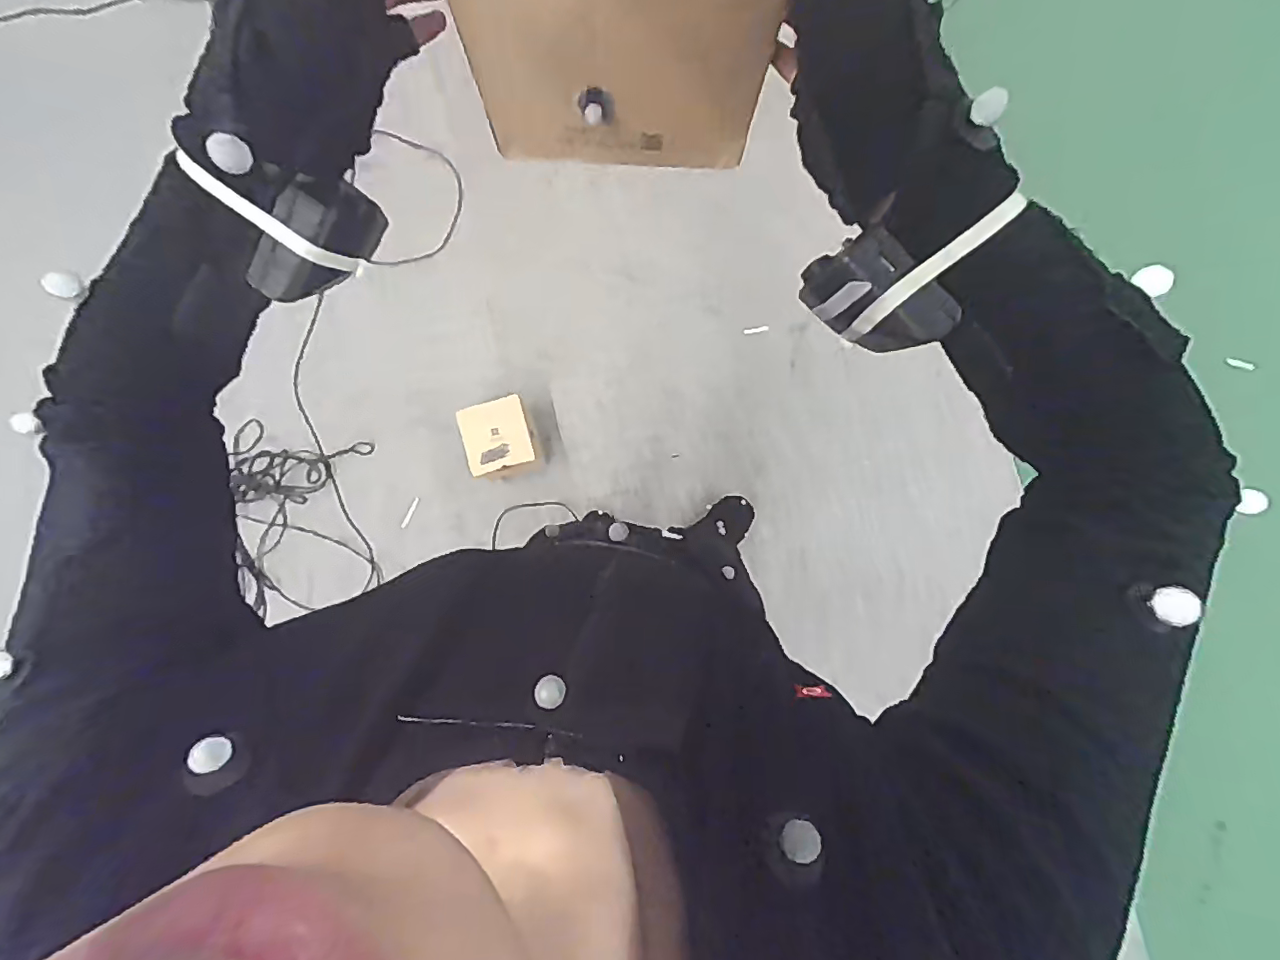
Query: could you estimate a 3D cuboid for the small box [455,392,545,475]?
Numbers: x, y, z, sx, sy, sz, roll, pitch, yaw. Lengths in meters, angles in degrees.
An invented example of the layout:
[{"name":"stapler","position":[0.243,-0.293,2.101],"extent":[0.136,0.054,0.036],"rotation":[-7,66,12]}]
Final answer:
[{"name":"small box","position":[-0.358,-0.114,1.420],"extent":[0.168,0.176,0.179],"rotation":[-16,86,-1]}]
